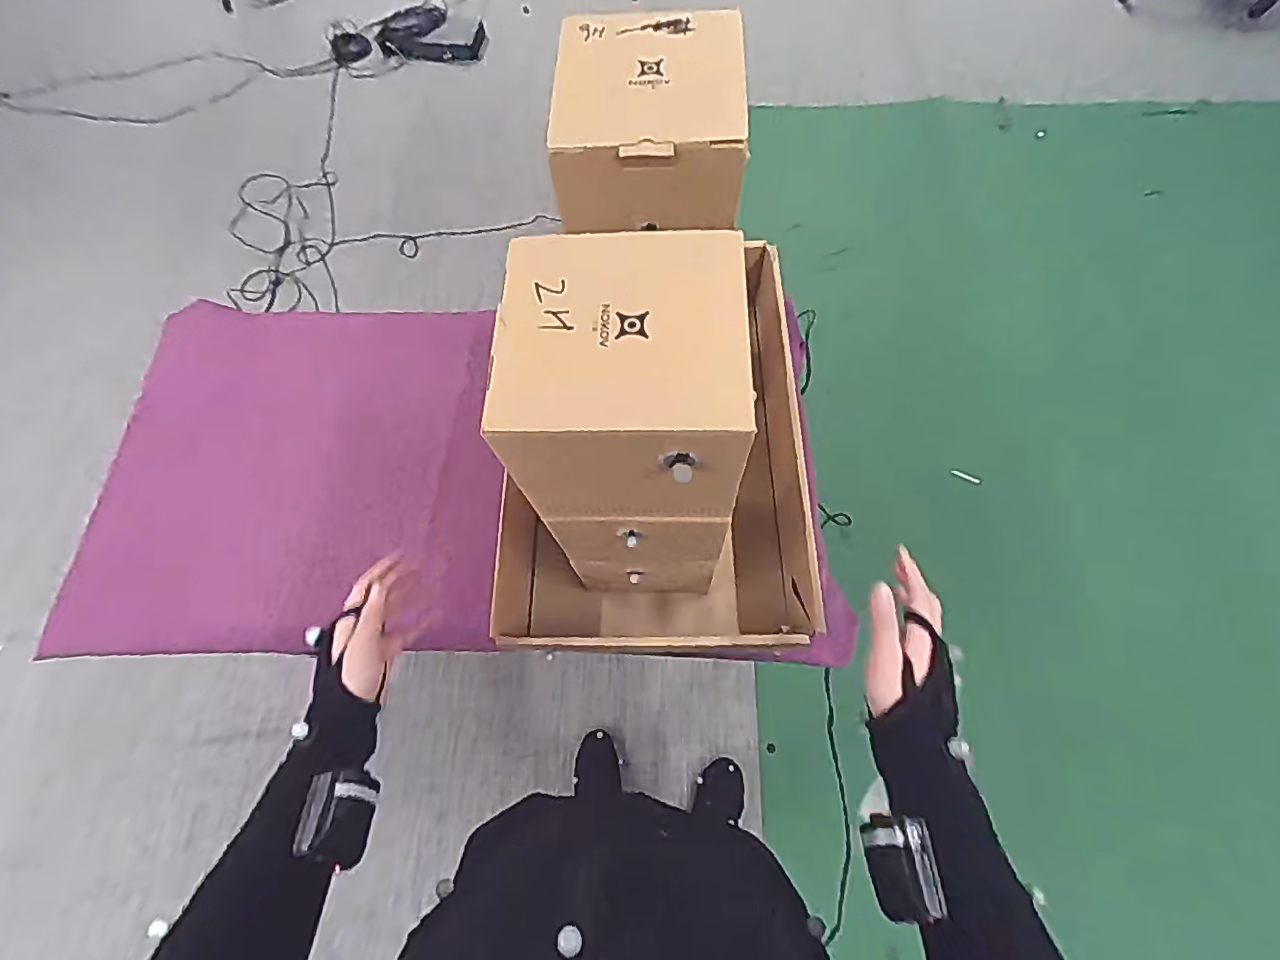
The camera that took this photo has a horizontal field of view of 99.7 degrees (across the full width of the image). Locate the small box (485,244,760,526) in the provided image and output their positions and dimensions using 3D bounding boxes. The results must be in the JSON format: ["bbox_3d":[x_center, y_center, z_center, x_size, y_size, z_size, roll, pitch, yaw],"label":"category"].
[{"bbox_3d":[-0.005,-0.066,0.442,0.179,0.176,0.168,1,67,4],"label":"small box"}]

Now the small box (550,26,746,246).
[{"bbox_3d":[0.014,-0.307,0.544,0.168,0.176,0.179,1,69,3],"label":"small box"}]

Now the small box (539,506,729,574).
[{"bbox_3d":[0.003,0.002,0.592,0.179,0.176,0.168,2,67,4],"label":"small box"}]
